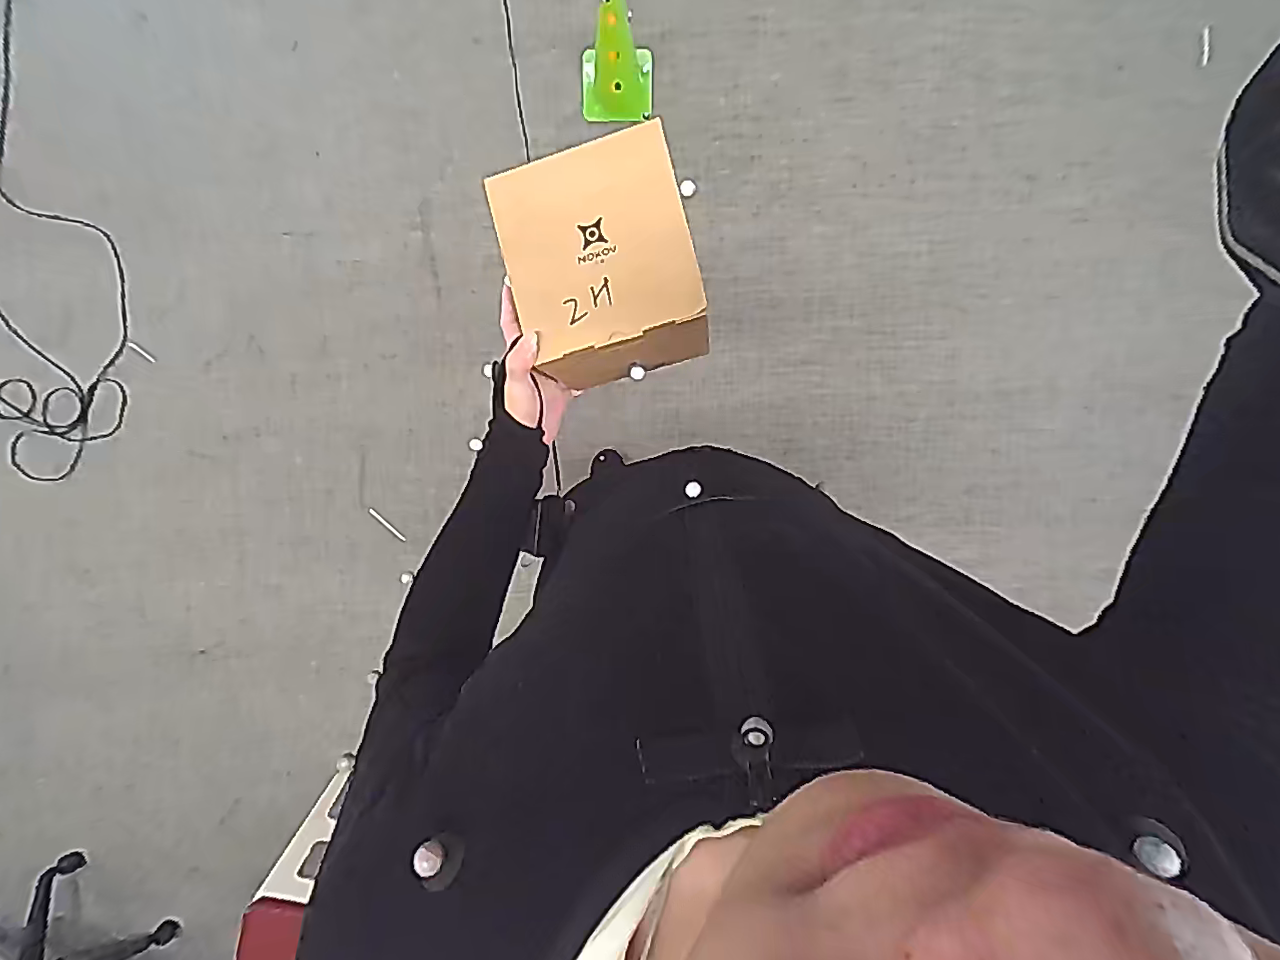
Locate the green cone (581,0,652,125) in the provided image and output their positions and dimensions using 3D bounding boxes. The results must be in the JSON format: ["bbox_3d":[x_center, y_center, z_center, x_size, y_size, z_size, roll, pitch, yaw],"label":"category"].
[{"bbox_3d":[-0.069,-1.115,1.373,0.202,0.368,0.200,-1,92,1],"label":"green cone"}]
